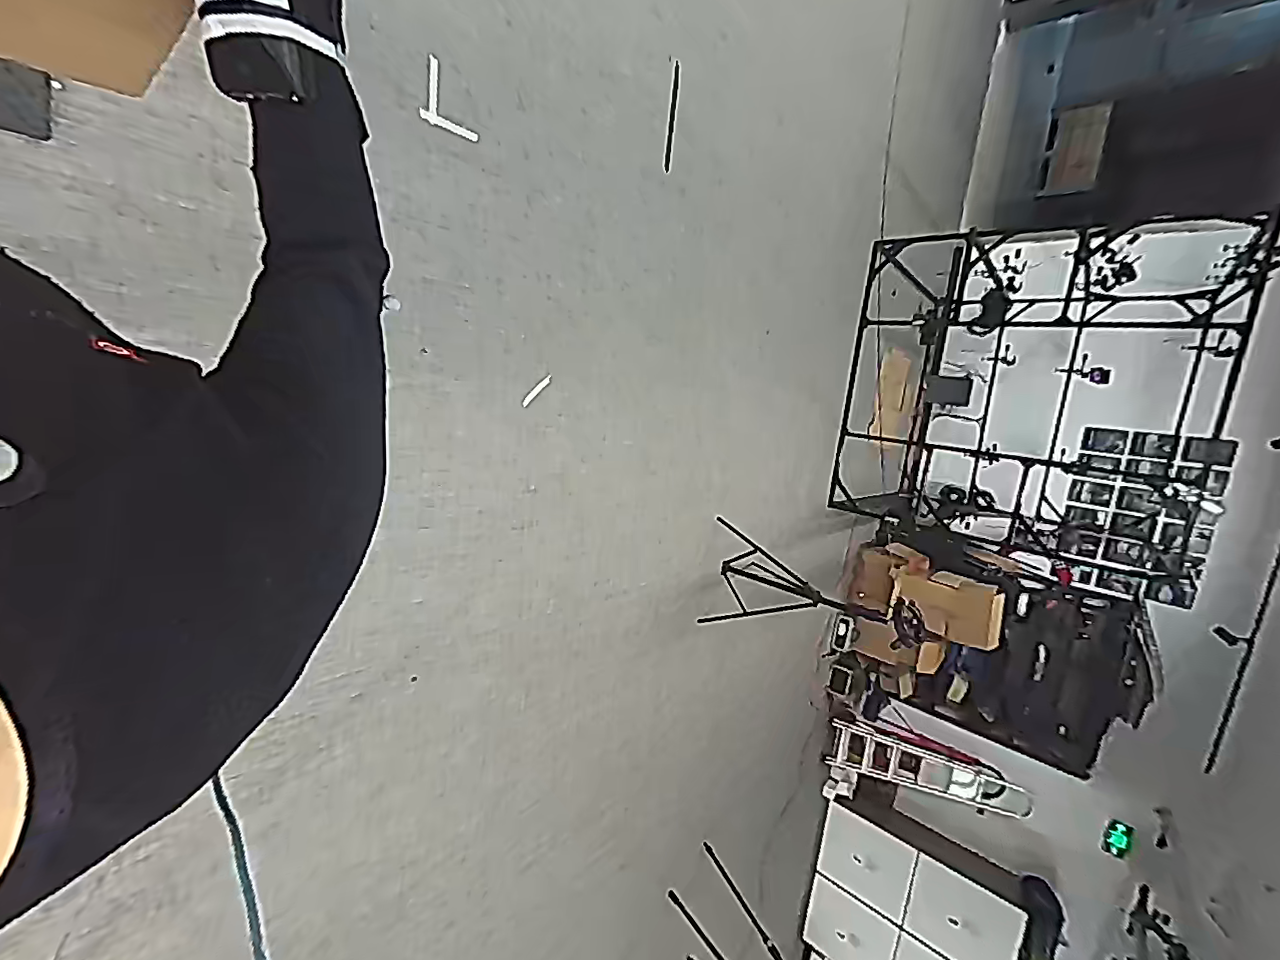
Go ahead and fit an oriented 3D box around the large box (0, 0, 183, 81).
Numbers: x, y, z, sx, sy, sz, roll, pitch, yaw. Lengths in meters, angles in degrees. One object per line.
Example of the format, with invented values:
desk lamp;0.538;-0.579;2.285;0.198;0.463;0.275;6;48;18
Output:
large box;-0.487;-0.470;0.240;0.408;0.320;0.320;-12;108;-50

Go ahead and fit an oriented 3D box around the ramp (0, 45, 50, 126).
ramp;-1.079;-1.069;0.643;0.509;0.206;0.991;-7;107;-50
